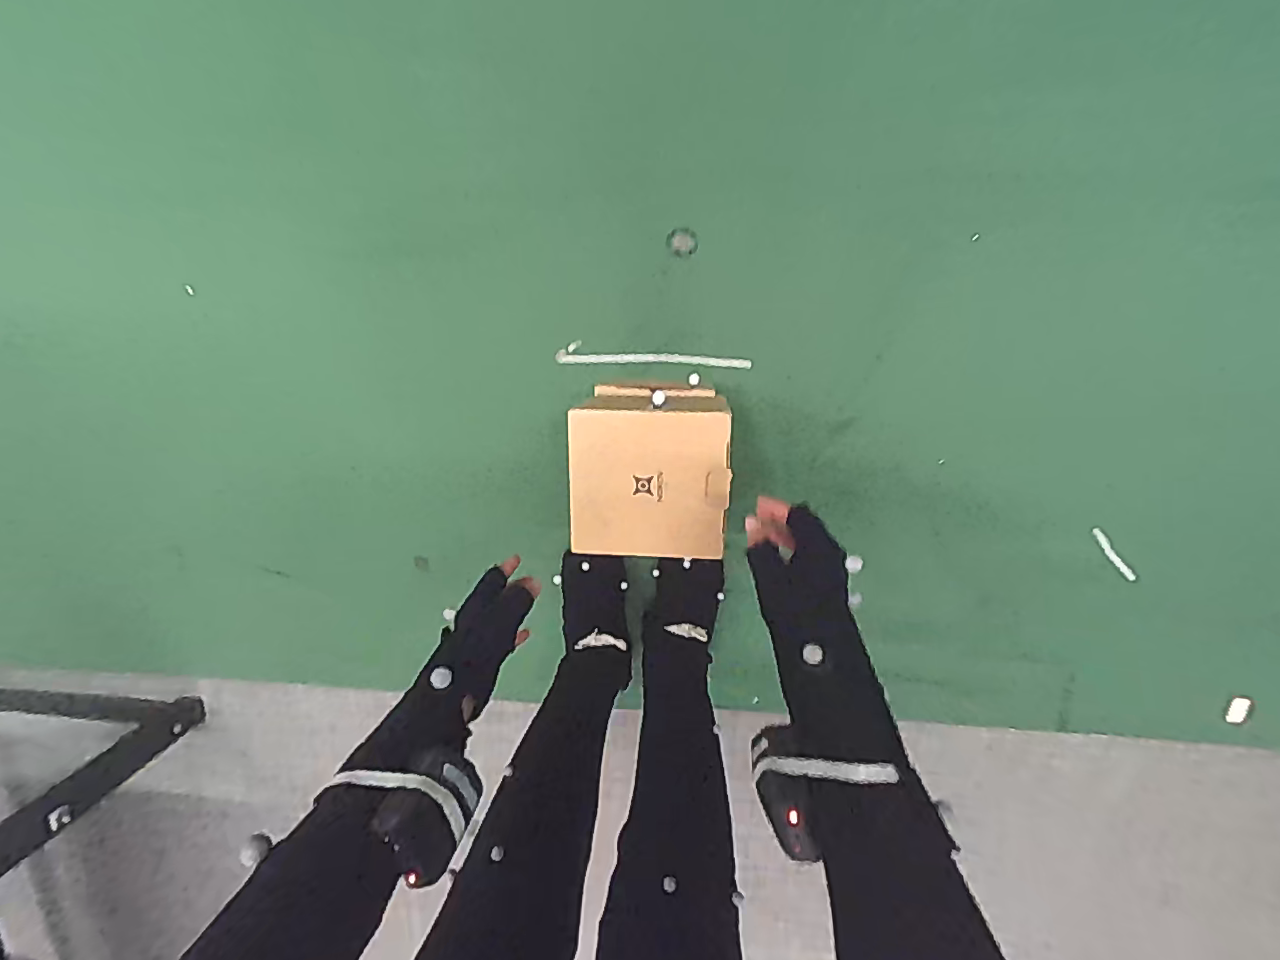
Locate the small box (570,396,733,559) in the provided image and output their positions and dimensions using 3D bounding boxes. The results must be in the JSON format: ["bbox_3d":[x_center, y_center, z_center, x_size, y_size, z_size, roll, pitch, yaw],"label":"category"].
[{"bbox_3d":[0.018,-0.013,0.669,0.179,0.176,0.168,2,104,5],"label":"small box"}]
